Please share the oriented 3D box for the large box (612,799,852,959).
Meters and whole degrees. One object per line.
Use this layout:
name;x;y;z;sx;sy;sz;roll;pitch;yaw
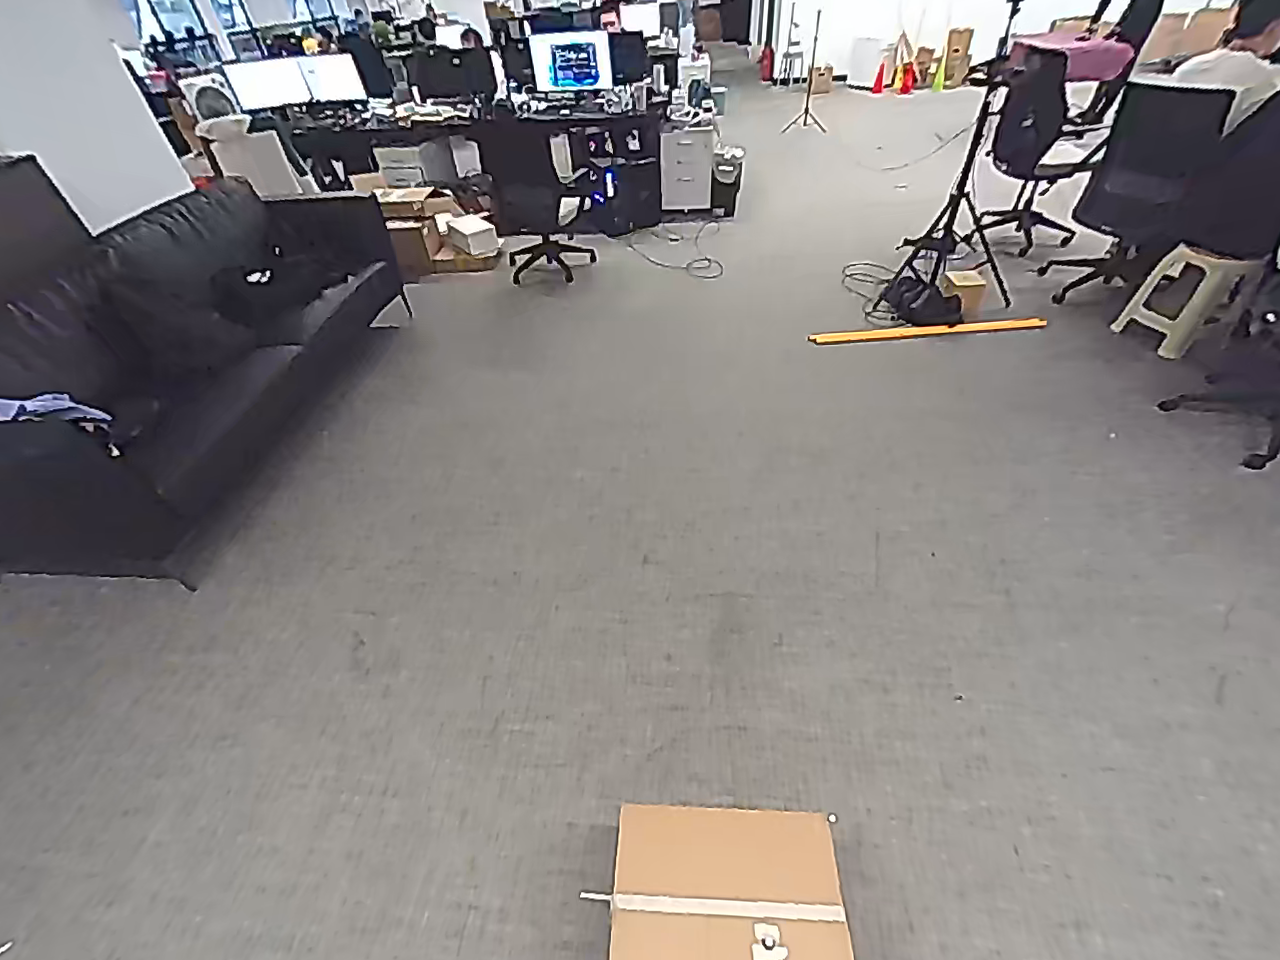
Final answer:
large box;0.163;0.851;1.053;0.408;0.320;0.320;0;44;5
